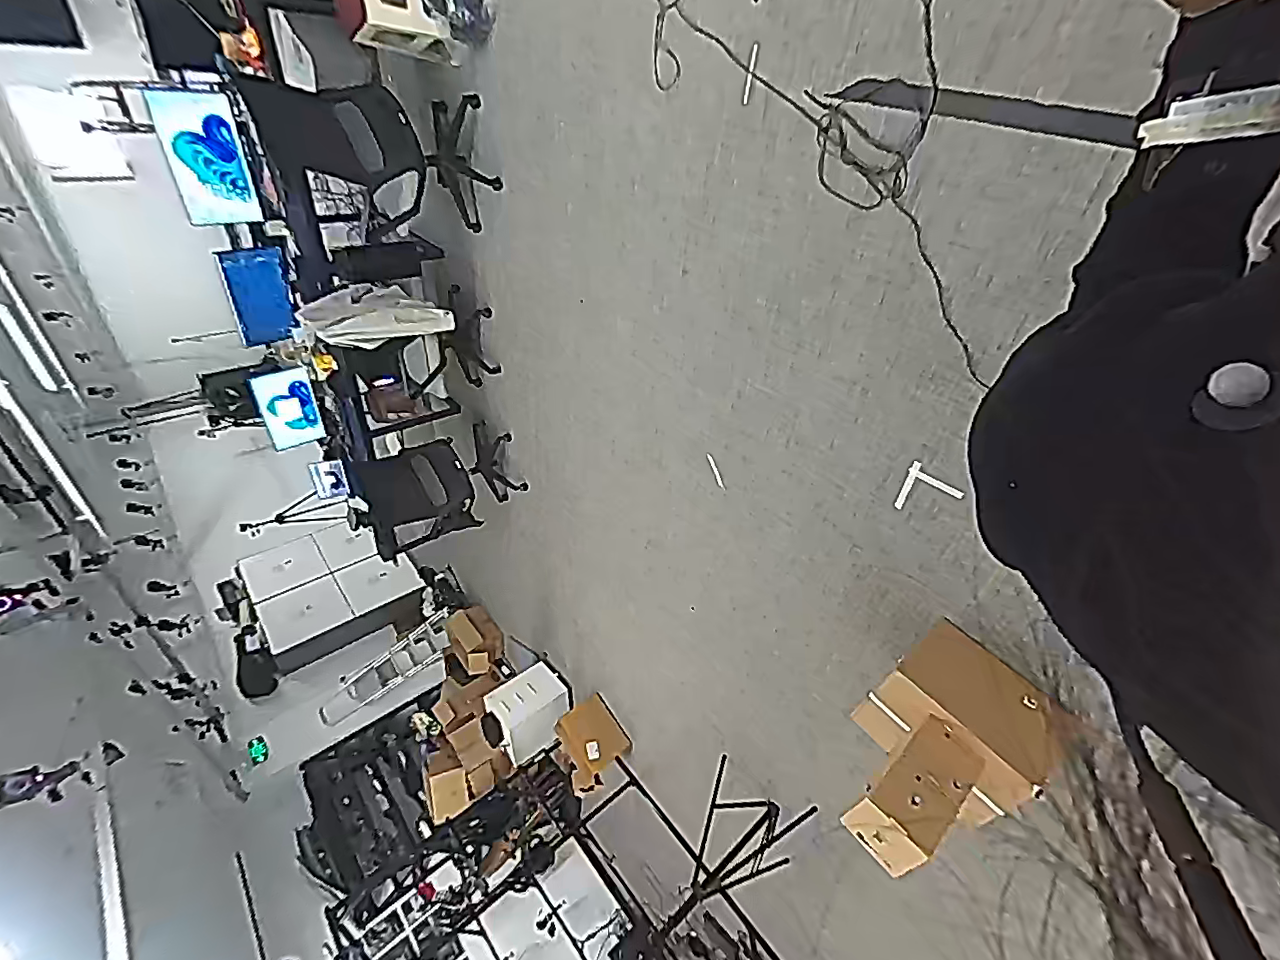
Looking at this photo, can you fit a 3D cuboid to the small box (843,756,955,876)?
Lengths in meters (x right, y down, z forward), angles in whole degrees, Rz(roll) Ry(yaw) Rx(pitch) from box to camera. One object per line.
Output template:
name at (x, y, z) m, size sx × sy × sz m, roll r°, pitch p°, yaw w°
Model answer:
small box at (0.650, 0.832, 1.350) m, size 0.168 × 0.176 × 0.179 m, roll 42°, pitch 139°, yaw 30°
